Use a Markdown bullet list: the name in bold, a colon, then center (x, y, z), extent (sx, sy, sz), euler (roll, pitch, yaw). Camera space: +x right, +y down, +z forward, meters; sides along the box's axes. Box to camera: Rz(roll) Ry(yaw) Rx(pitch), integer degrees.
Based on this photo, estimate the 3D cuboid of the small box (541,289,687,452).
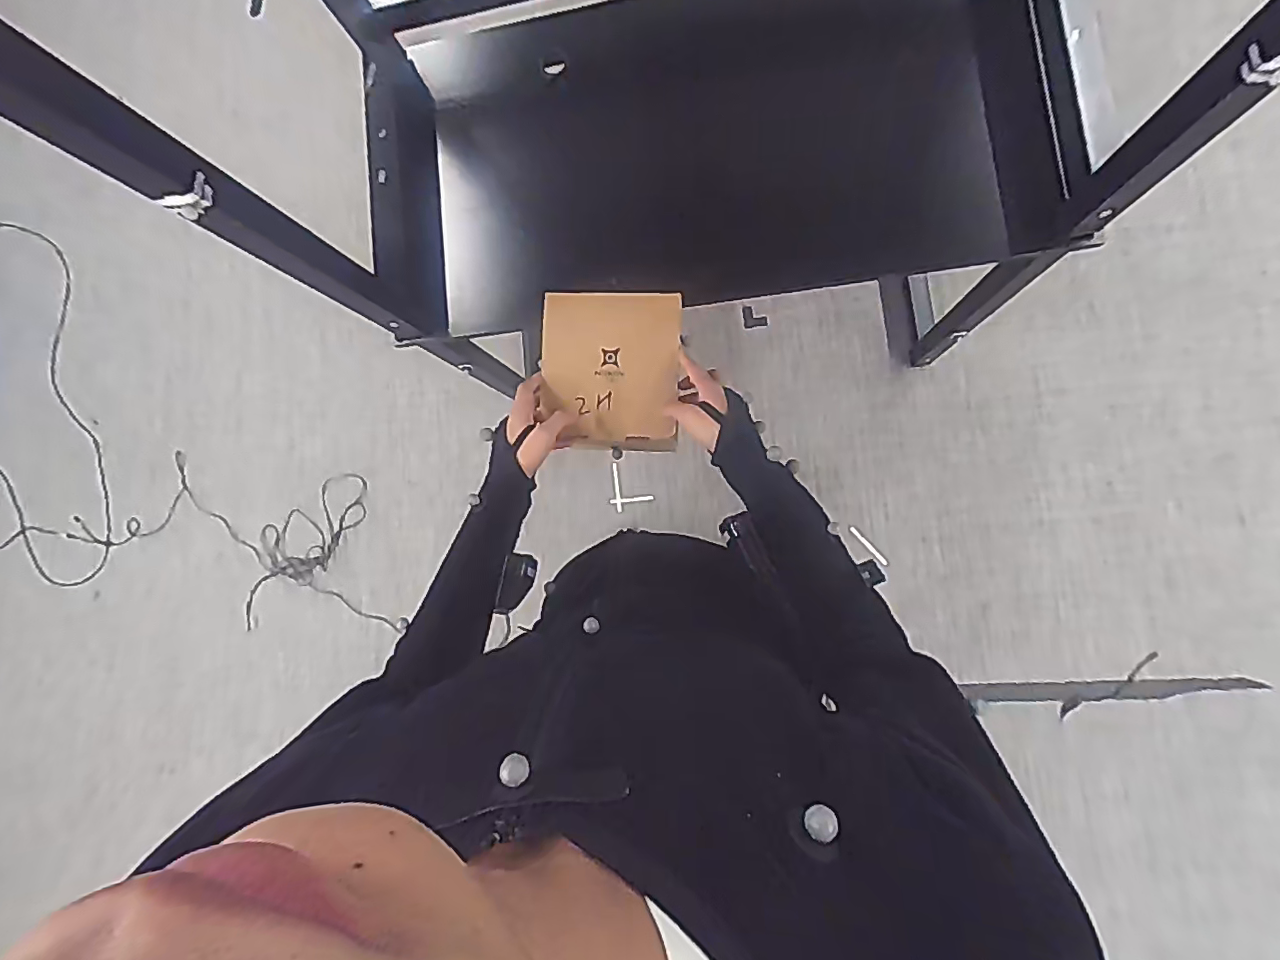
- **small box**: center (-0.025, -0.135, 0.716), extent (0.168, 0.176, 0.179), euler (2, 88, 5)
